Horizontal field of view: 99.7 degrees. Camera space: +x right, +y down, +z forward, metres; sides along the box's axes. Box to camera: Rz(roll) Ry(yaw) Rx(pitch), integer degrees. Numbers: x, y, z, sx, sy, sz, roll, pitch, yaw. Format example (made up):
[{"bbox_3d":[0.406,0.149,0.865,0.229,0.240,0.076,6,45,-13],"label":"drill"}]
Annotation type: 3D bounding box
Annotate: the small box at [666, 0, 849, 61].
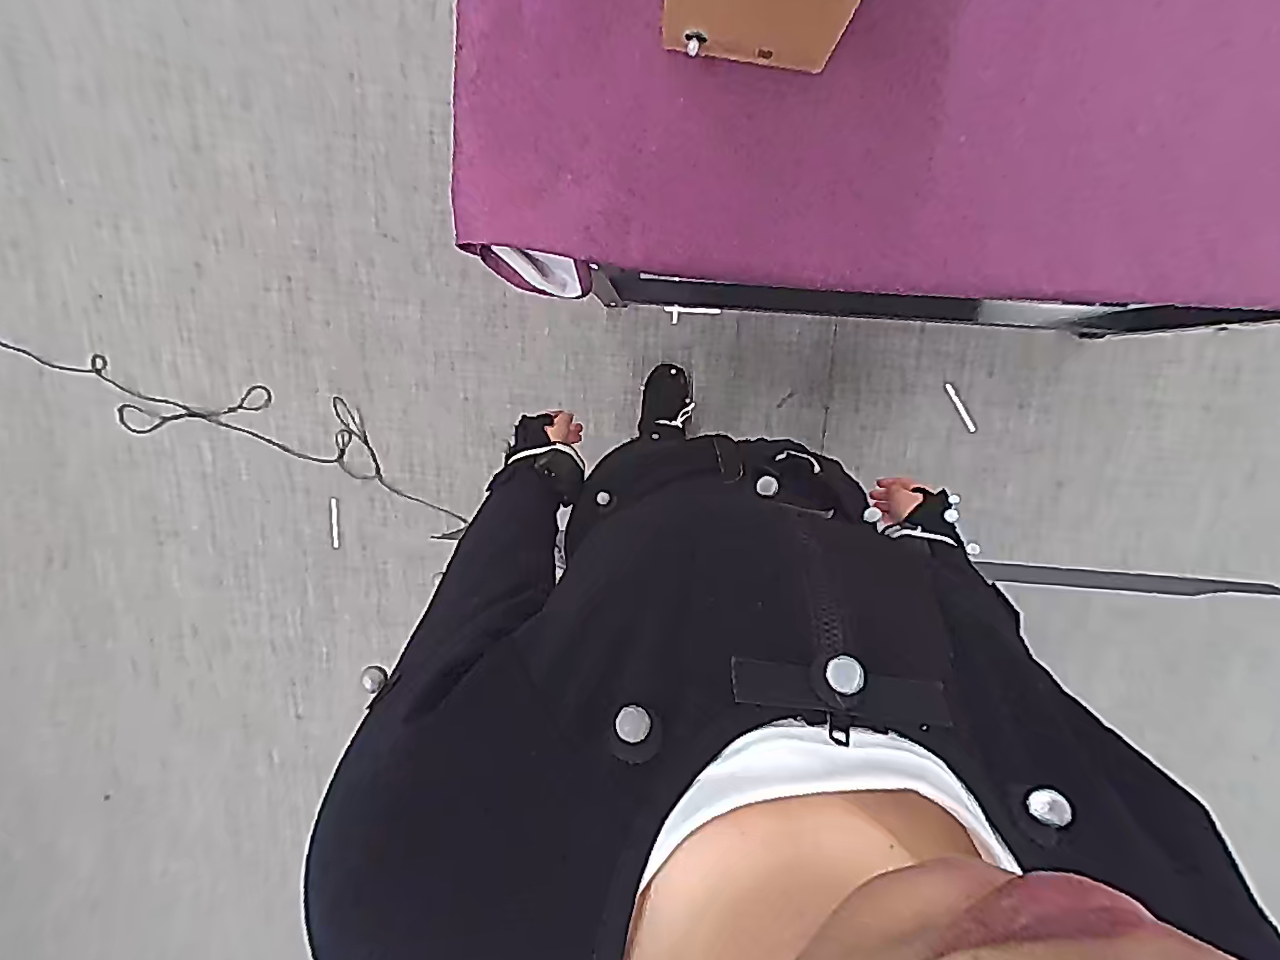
[{"bbox_3d":[0.114,-0.500,0.456,0.168,0.176,0.179,9,102,0],"label":"small box"}]
